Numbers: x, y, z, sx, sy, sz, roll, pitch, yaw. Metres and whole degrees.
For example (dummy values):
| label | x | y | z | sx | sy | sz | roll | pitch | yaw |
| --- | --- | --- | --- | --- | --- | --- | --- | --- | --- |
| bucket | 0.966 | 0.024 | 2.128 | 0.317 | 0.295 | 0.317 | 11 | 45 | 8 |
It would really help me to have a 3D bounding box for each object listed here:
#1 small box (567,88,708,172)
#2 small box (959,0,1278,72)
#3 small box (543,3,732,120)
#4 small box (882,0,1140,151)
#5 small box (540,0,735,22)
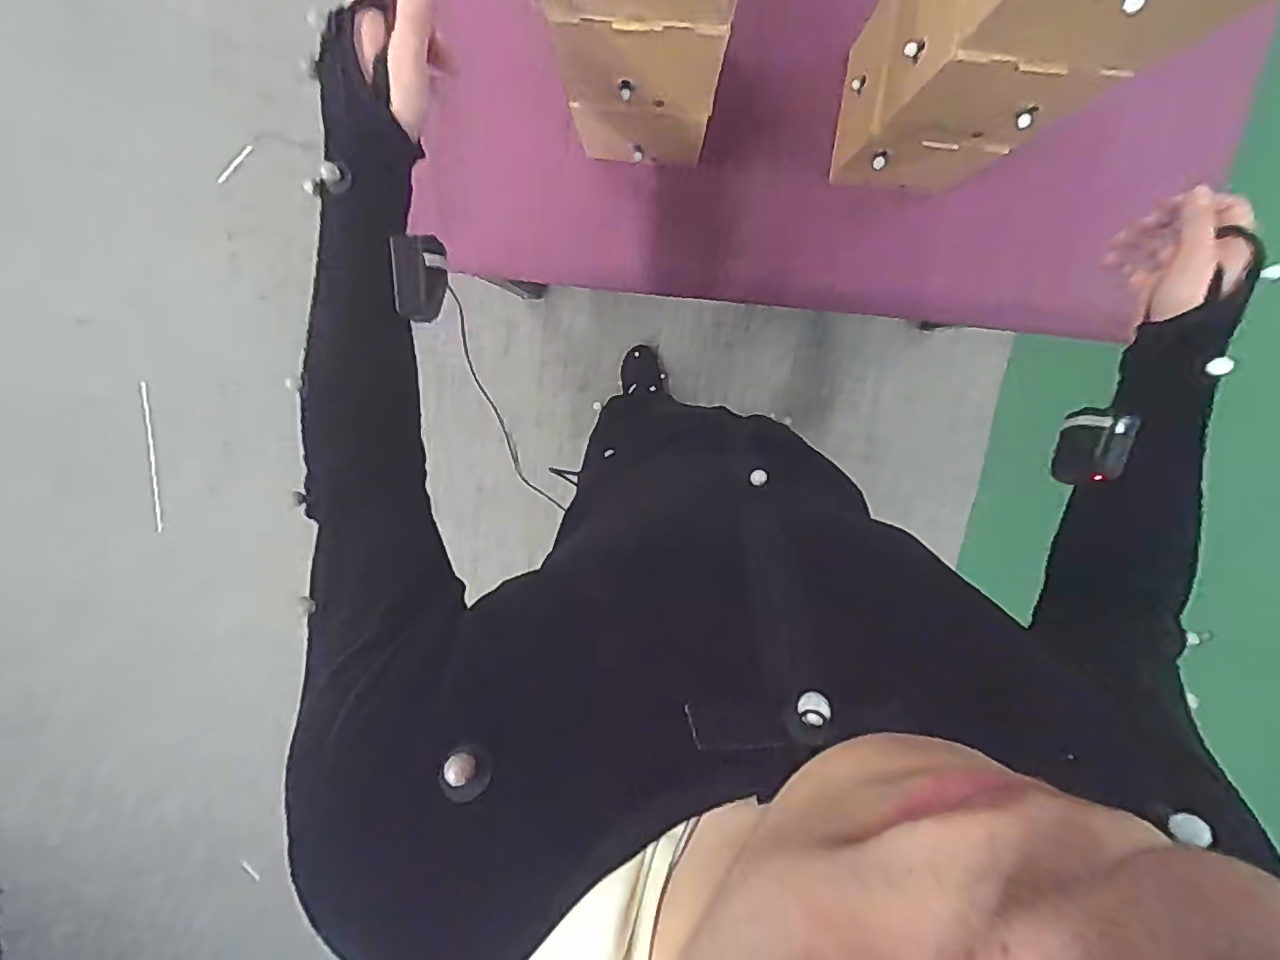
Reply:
| label | x | y | z | sx | sy | sz | roll | pitch | yaw |
| --- | --- | --- | --- | --- | --- | --- | --- | --- | --- |
| small box | 0.007 | -0.524 | 0.690 | 0.168 | 0.176 | 0.179 | 7 | 102 | 0 |
| small box | 0.366 | -0.419 | 0.372 | 0.179 | 0.176 | 0.168 | 7 | 102 | 0 |
| small box | 0.004 | -0.492 | 0.531 | 0.168 | 0.176 | 0.179 | 5 | 103 | 0 |
| small box | 0.361 | -0.452 | 0.532 | 0.168 | 0.176 | 0.179 | 6 | 101 | -1 |
| small box | -0.003 | -0.459 | 0.370 | 0.179 | 0.176 | 0.168 | 5 | 103 | 0 |
